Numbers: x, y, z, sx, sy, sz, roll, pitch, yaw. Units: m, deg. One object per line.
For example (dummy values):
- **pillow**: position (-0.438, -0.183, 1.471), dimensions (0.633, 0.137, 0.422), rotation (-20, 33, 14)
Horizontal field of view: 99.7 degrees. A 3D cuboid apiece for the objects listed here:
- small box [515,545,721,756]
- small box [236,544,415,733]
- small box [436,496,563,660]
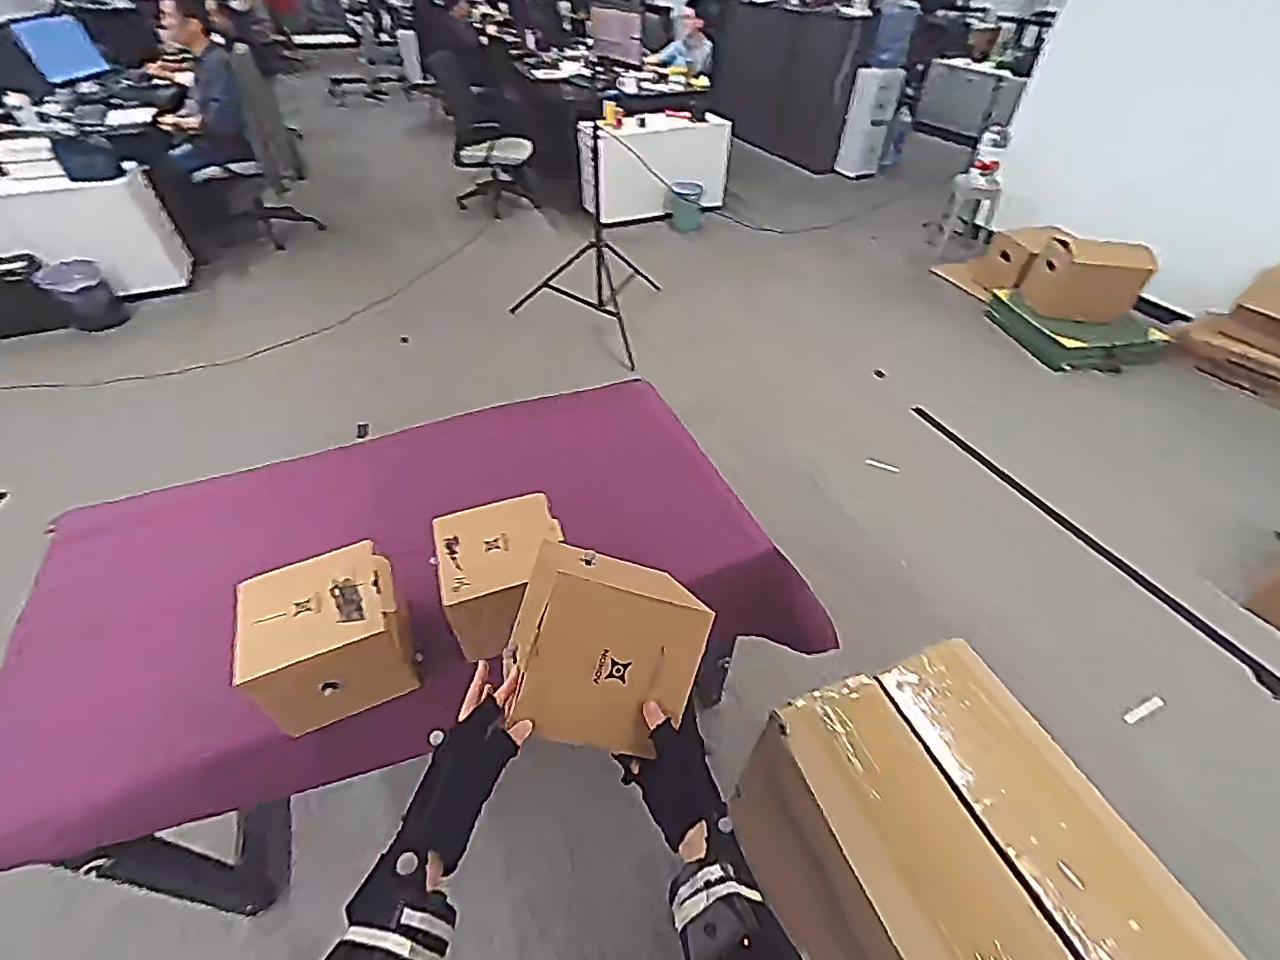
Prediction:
- **small box**: position (-0.038, 0.182, 0.623), dimensions (0.179, 0.168, 0.176), rotation (18, 0, -16)
- **small box**: position (-0.437, 0.227, 0.776), dimensions (0.179, 0.176, 0.168), rotation (-19, 47, -18)
- **small box**: position (-0.209, 0.155, 0.854), dimensions (0.179, 0.176, 0.168), rotation (-13, 46, -15)
